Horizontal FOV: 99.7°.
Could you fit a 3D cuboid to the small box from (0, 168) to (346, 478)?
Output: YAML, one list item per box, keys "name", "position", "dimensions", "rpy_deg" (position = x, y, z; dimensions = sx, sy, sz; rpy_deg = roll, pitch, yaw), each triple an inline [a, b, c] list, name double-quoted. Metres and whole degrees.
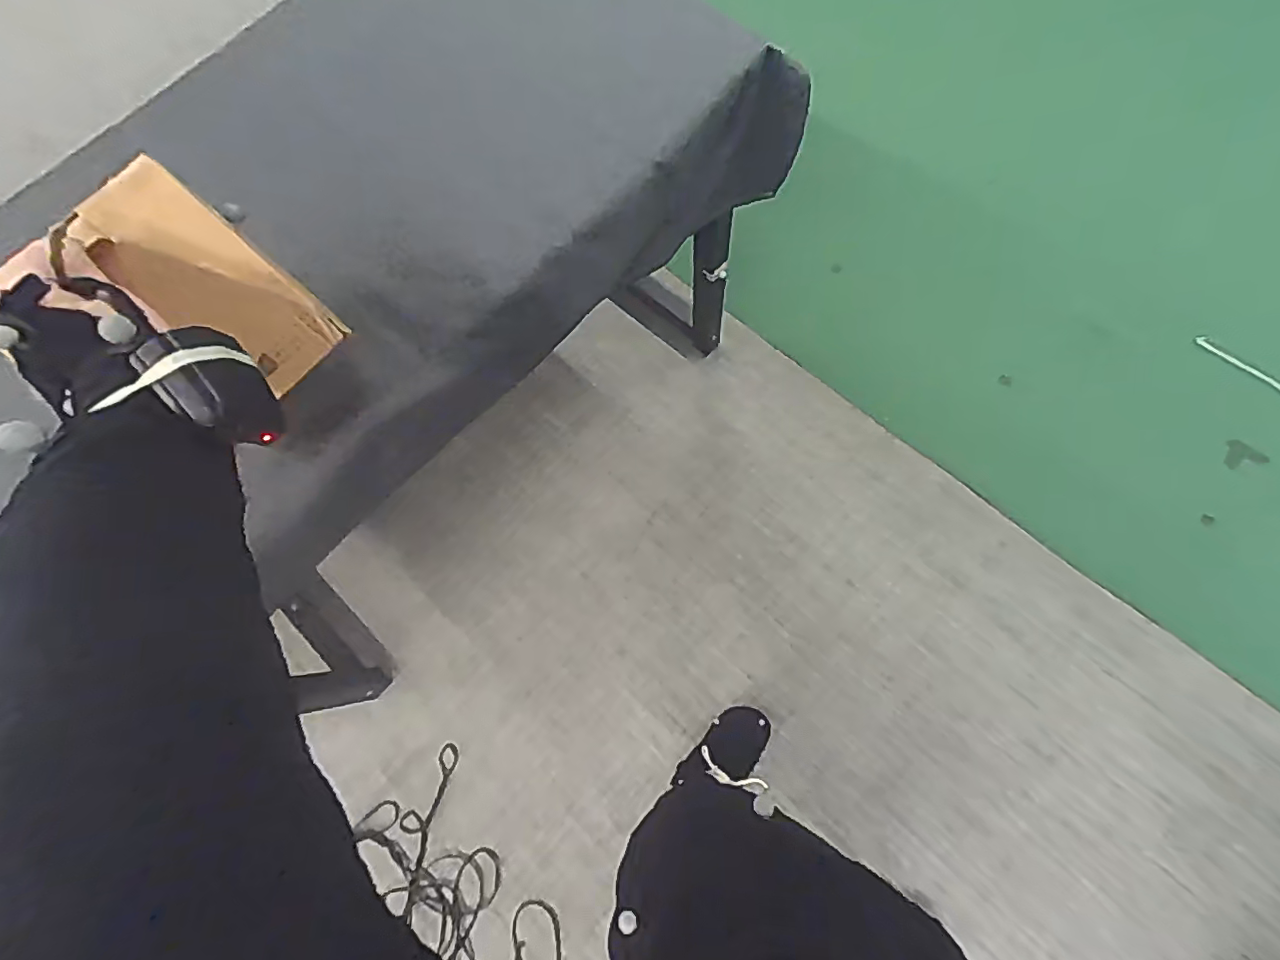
- name: "small box"
  position: [-0.383, -0.124, 0.470]
  dimensions: [0.168, 0.179, 0.176]
  rpy_deg: [-48, 121, -8]
